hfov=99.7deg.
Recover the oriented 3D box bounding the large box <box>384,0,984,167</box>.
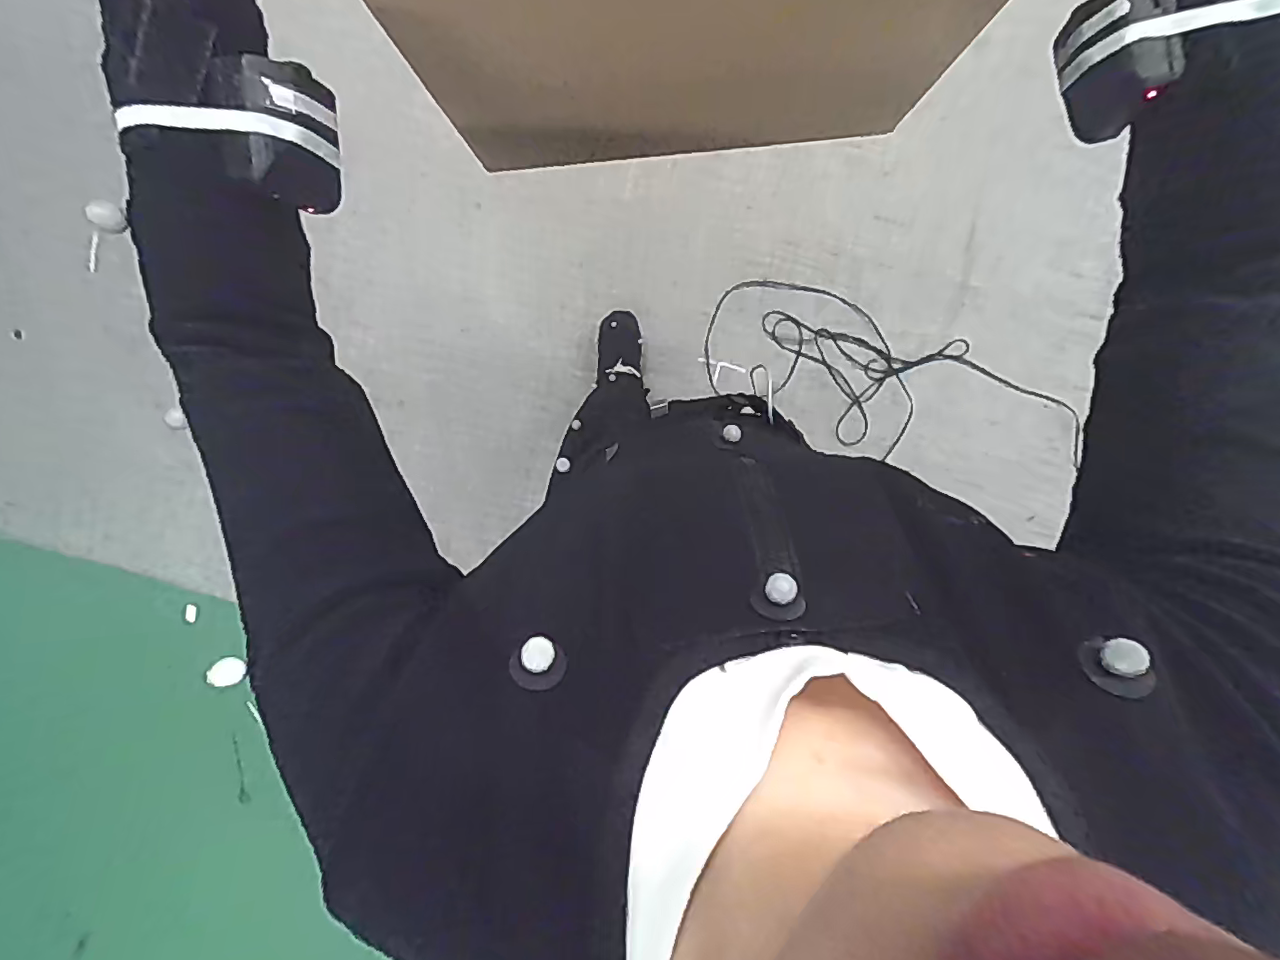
[{"bbox_3d":[0.027,-0.458,0.369,0.408,0.320,0.320,-5,99,1],"label":"large box"}]
